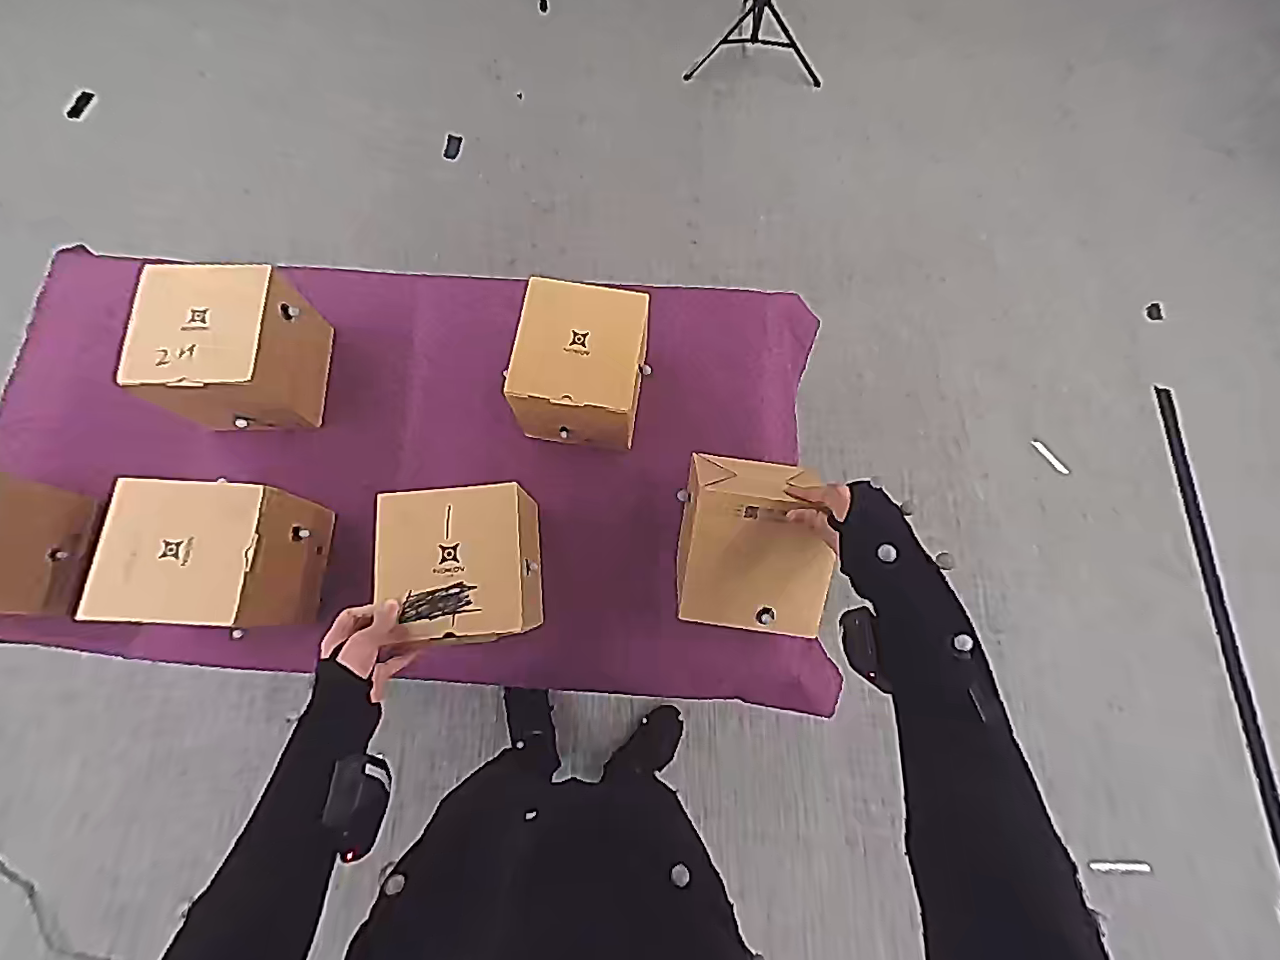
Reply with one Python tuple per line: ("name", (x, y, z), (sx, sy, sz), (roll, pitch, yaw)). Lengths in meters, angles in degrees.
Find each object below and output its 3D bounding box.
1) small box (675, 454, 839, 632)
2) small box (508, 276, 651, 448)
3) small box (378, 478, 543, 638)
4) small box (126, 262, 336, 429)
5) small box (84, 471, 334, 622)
("small box", (0.140, 0.067, 0.695), (0.168, 0.179, 0.176), (7, 106, 1))
("small box", (-0.081, -0.164, 0.793), (0.168, 0.176, 0.179), (9, 76, 1))
("small box", (-0.221, 0.104, 0.704), (0.168, 0.176, 0.179), (-4, 77, -3))
("small box", (-0.568, -0.187, 0.781), (0.168, 0.176, 0.179), (0, 75, -2))
("small box", (-0.532, 0.094, 0.701), (0.179, 0.176, 0.168), (3, 74, -2))
